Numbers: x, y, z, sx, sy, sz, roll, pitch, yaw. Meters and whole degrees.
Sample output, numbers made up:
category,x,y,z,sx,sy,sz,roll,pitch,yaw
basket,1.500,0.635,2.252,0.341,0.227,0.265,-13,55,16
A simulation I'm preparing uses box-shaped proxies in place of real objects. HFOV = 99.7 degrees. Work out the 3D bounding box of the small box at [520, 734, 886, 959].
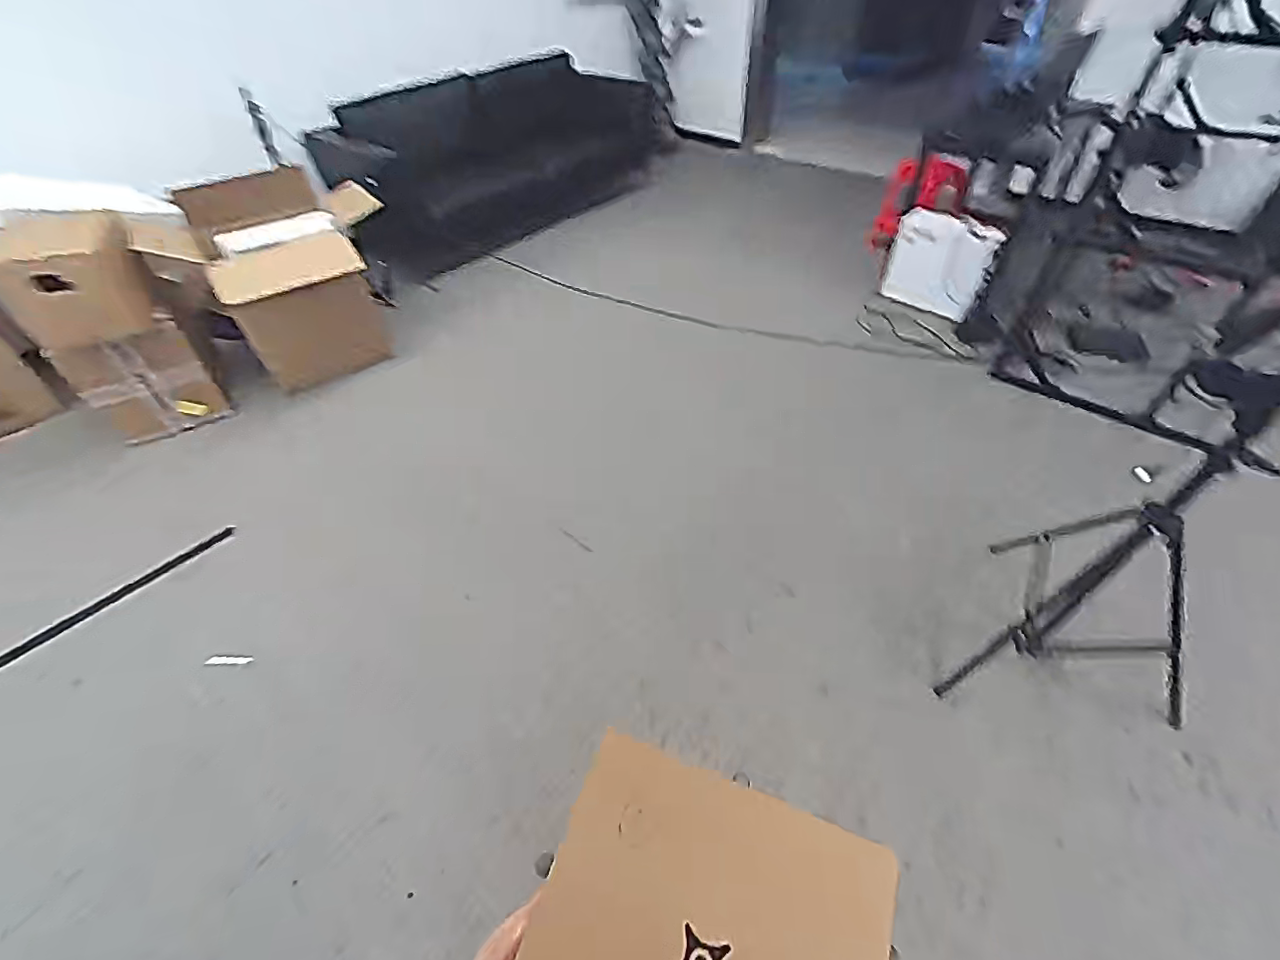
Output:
category,x,y,z,sx,sy,sz,roll,pitch,yaw
small box,0.028,0.284,0.324,0.168,0.176,0.179,16,58,14
